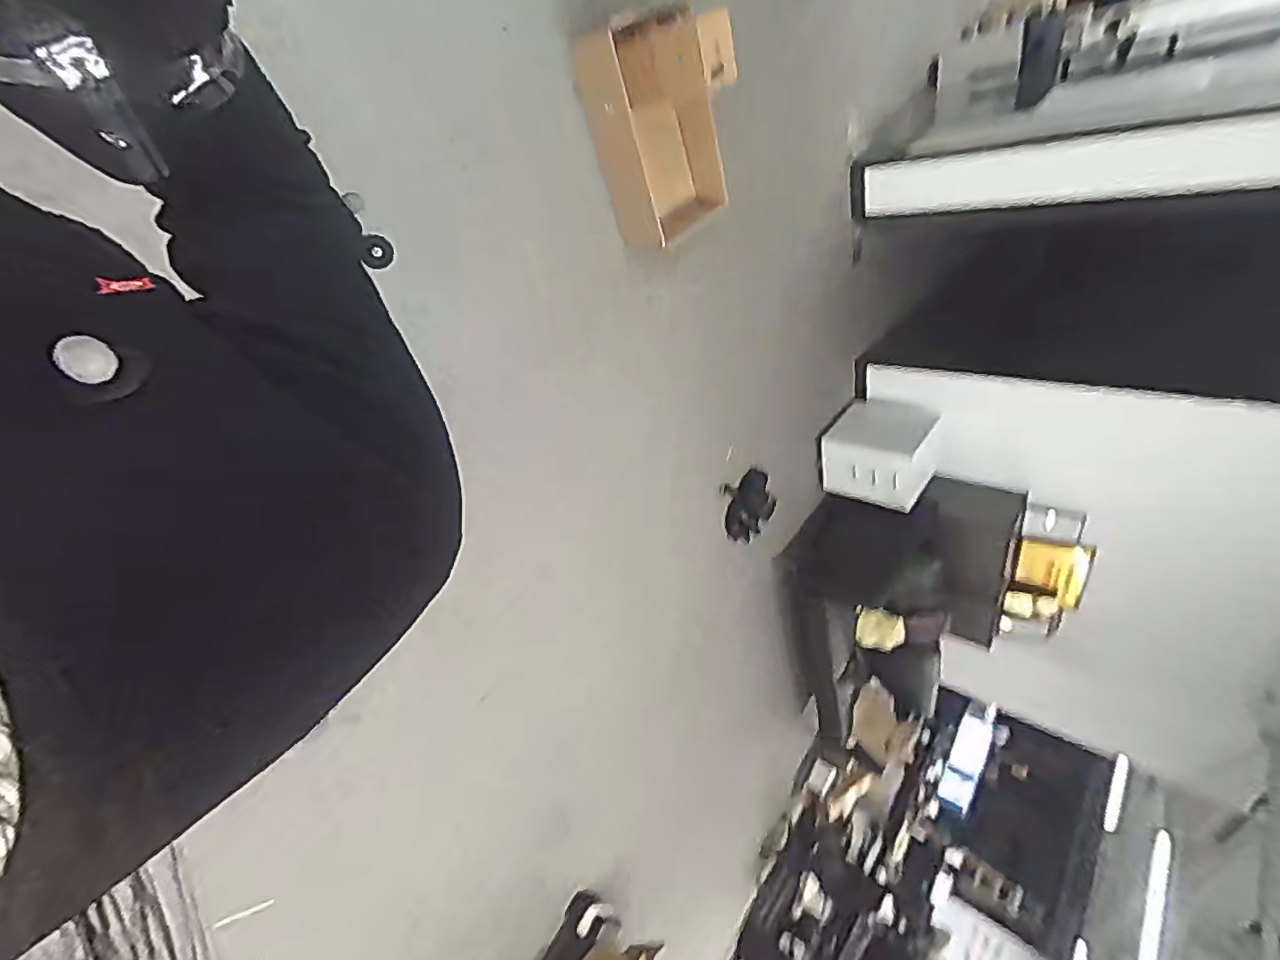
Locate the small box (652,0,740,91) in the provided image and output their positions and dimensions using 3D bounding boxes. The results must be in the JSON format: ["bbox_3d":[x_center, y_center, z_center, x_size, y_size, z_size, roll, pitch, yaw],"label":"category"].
[{"bbox_3d":[0.161,-1.240,1.545,0.168,0.176,0.179,-45,134,-29],"label":"small box"}]
